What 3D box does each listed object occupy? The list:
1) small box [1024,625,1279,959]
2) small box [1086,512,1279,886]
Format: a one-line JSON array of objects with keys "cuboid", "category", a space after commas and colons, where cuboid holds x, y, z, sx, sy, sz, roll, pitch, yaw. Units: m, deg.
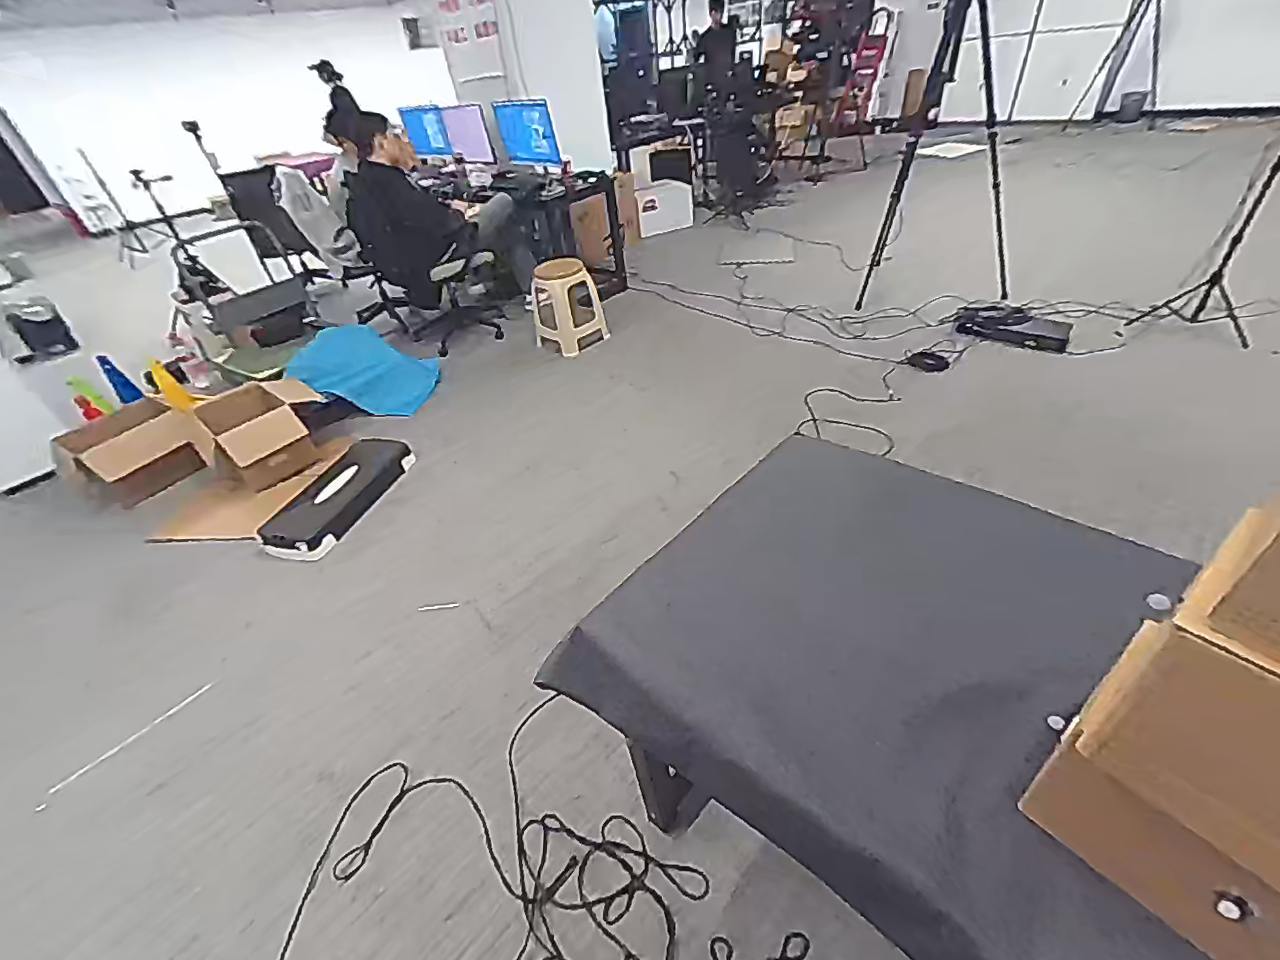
[{"cuboid": [0.493, 0.275, 0.482, 0.168, 0.176, 0.179, -30, 42, -27], "category": "small box"}, {"cuboid": [0.462, 0.159, 0.371, 0.168, 0.176, 0.179, -29, 43, -26], "category": "small box"}]
